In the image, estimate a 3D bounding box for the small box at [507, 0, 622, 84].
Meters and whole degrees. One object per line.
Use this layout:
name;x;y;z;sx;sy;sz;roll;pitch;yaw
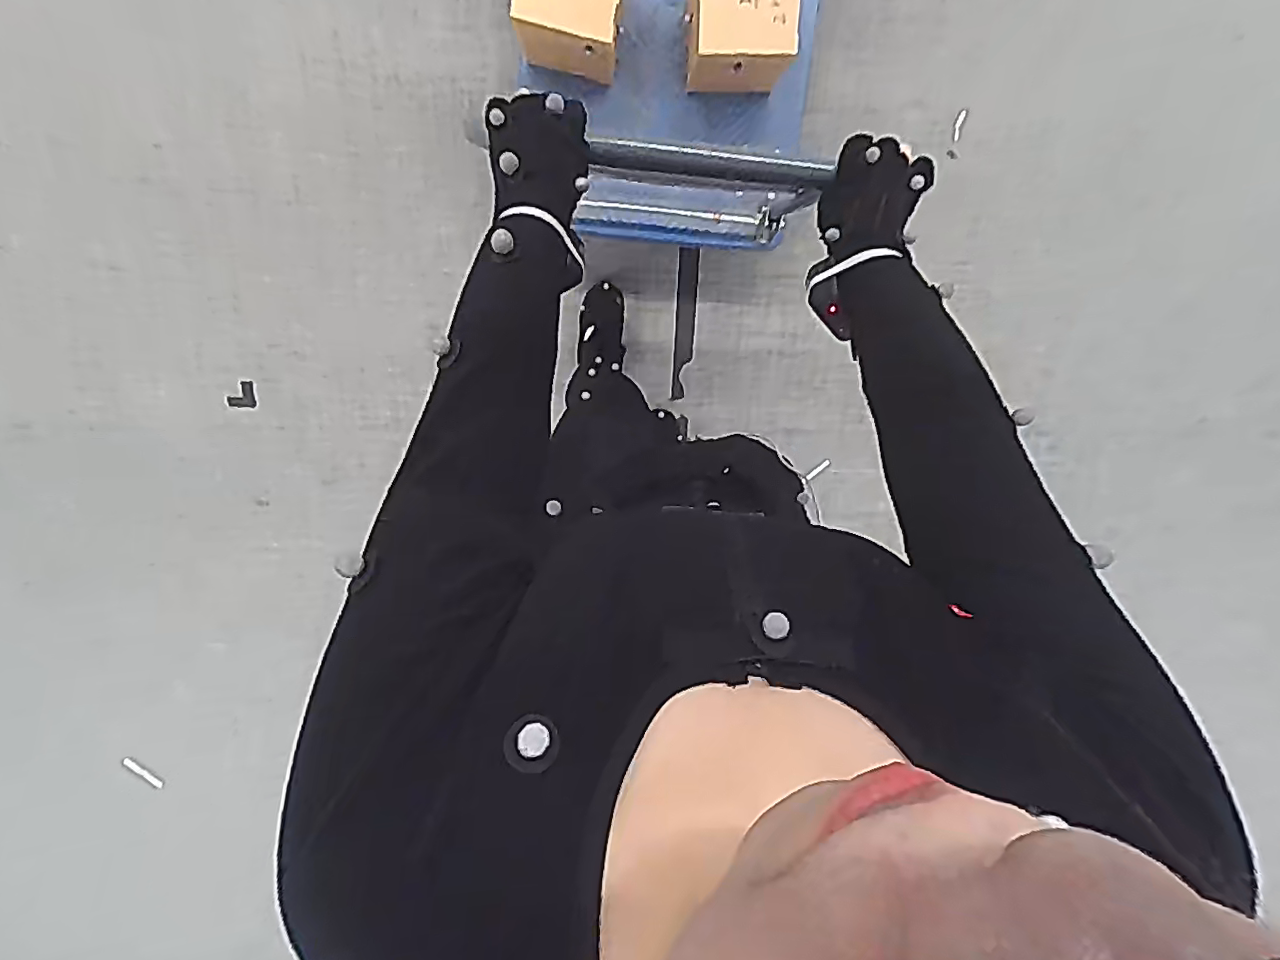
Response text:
small box;-0.127;-0.845;0.962;0.179;0.176;0.168;9;106;-7

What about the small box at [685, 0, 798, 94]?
small box;0.176;-0.827;0.983;0.179;0.176;0.168;-2;107;-2
